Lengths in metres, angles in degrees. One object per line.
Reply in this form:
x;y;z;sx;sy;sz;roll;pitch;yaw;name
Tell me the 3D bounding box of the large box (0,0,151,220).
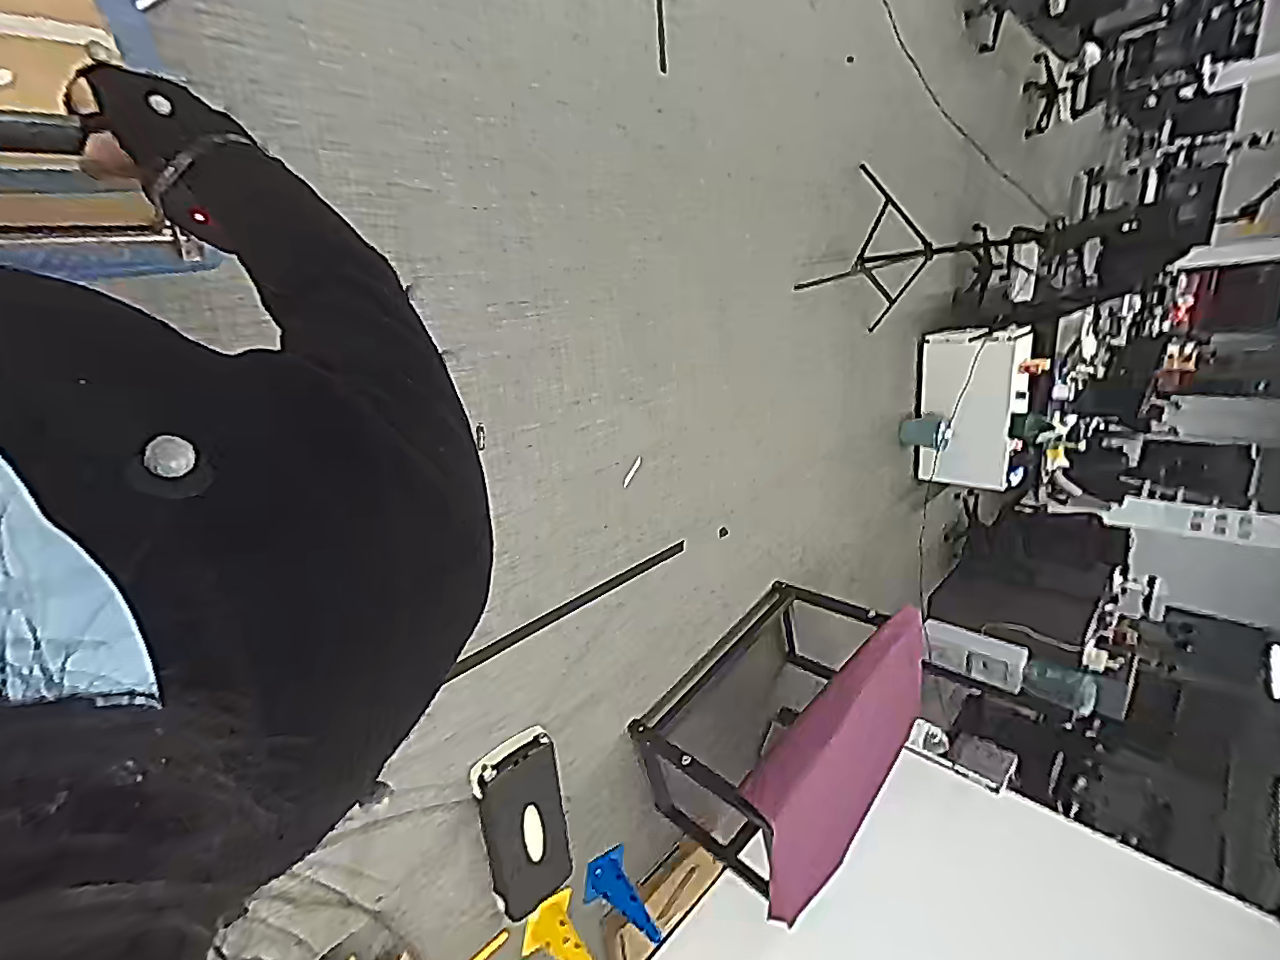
-0.945;-0.528;0.686;0.408;0.320;0.320;-24;113;-40;large box
